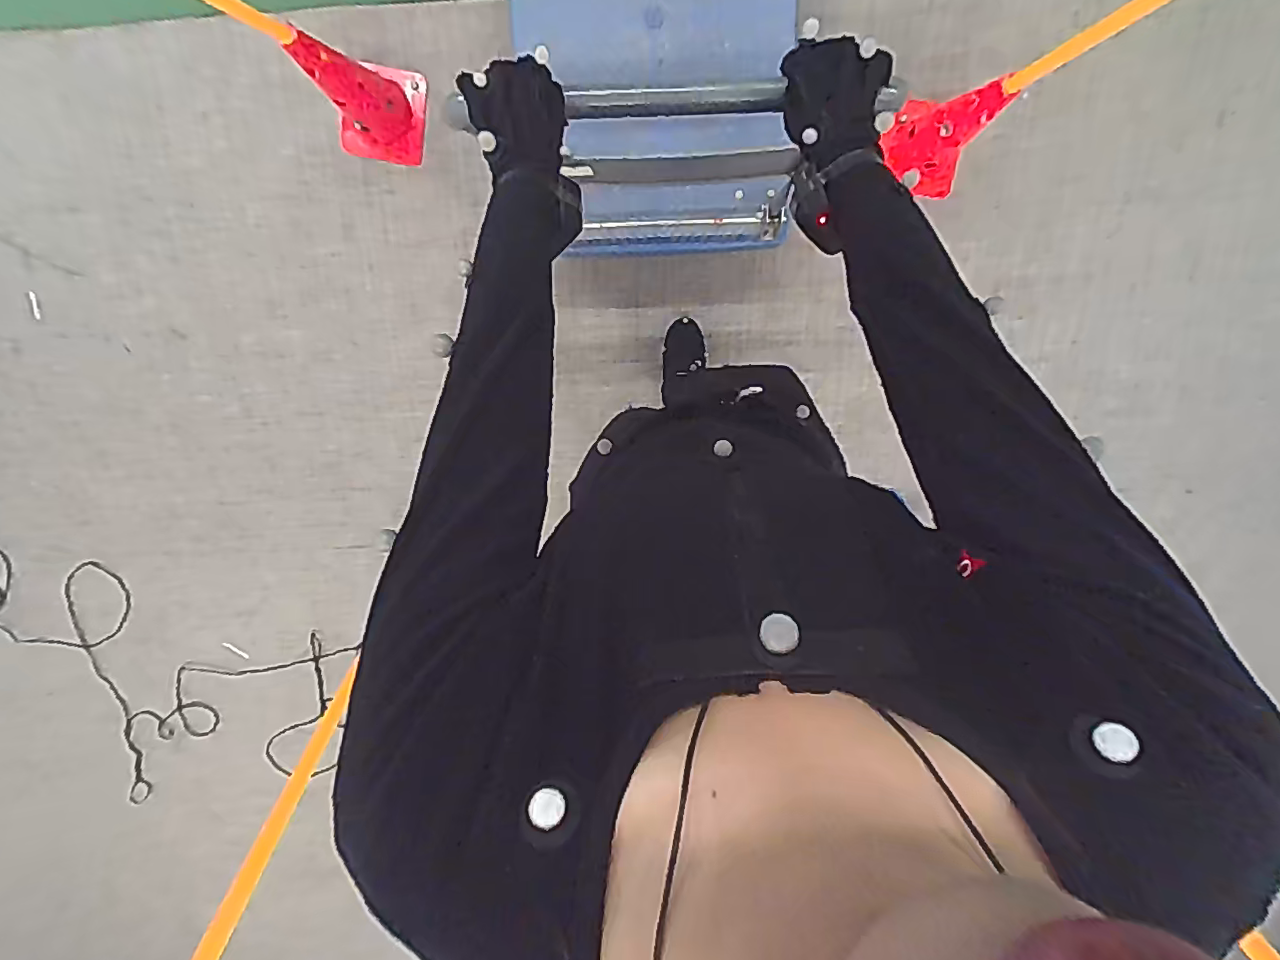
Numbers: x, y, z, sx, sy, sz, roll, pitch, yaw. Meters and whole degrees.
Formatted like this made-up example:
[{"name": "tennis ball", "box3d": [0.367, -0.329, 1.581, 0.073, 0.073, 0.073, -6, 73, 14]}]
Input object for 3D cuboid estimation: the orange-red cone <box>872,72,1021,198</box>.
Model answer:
[{"name": "orange-red cone", "box3d": [0.661, -0.743, 1.121, 0.198, 0.360, 0.199, 9, 106, 0]}]
